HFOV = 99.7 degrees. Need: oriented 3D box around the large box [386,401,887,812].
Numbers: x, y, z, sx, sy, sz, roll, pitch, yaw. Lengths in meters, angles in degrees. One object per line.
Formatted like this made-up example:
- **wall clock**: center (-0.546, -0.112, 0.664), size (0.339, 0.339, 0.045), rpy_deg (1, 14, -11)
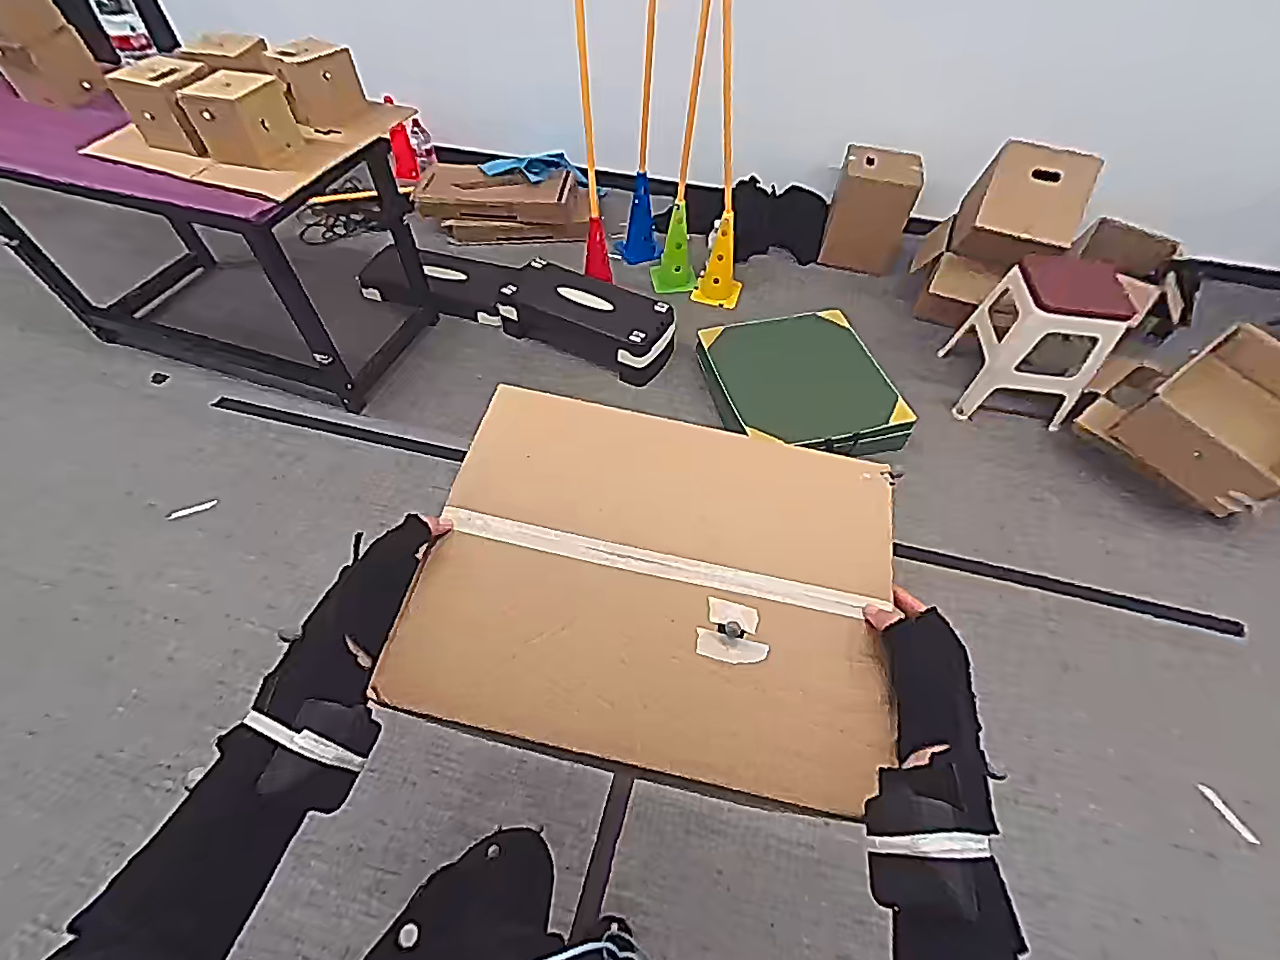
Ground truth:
- **large box**: center (0.009, 0.155, 0.616), size (0.408, 0.320, 0.320), rpy_deg (12, 62, 2)
